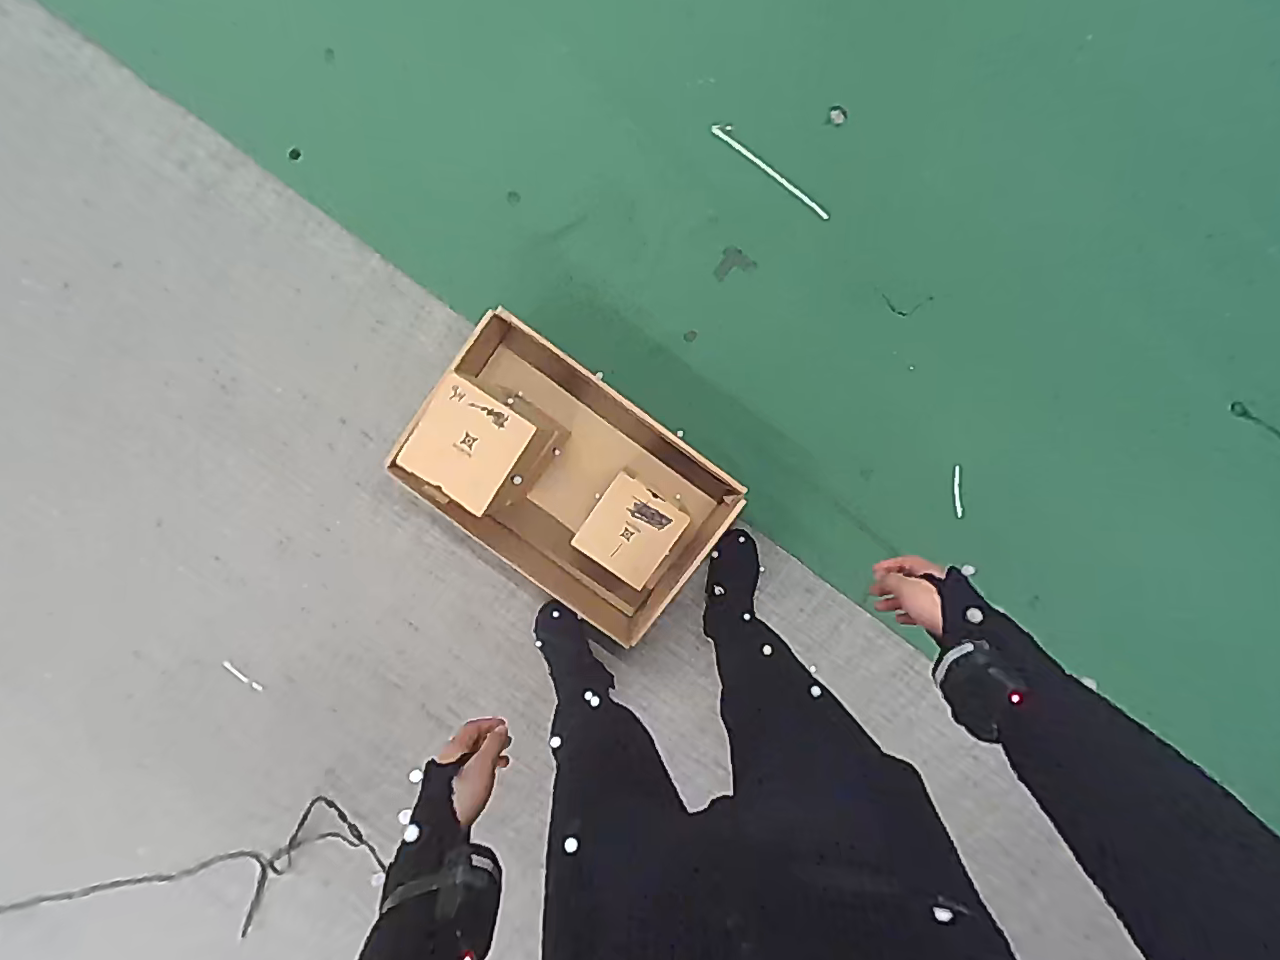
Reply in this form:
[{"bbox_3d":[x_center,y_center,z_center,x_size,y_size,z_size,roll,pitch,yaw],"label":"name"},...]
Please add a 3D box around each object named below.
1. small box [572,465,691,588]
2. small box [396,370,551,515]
[{"bbox_3d":[-0.016,0.084,1.104,0.168,0.176,0.179,35,97,-2],"label":"small box"},{"bbox_3d":[-0.273,-0.065,0.931,0.168,0.176,0.179,34,96,-2],"label":"small box"}]
